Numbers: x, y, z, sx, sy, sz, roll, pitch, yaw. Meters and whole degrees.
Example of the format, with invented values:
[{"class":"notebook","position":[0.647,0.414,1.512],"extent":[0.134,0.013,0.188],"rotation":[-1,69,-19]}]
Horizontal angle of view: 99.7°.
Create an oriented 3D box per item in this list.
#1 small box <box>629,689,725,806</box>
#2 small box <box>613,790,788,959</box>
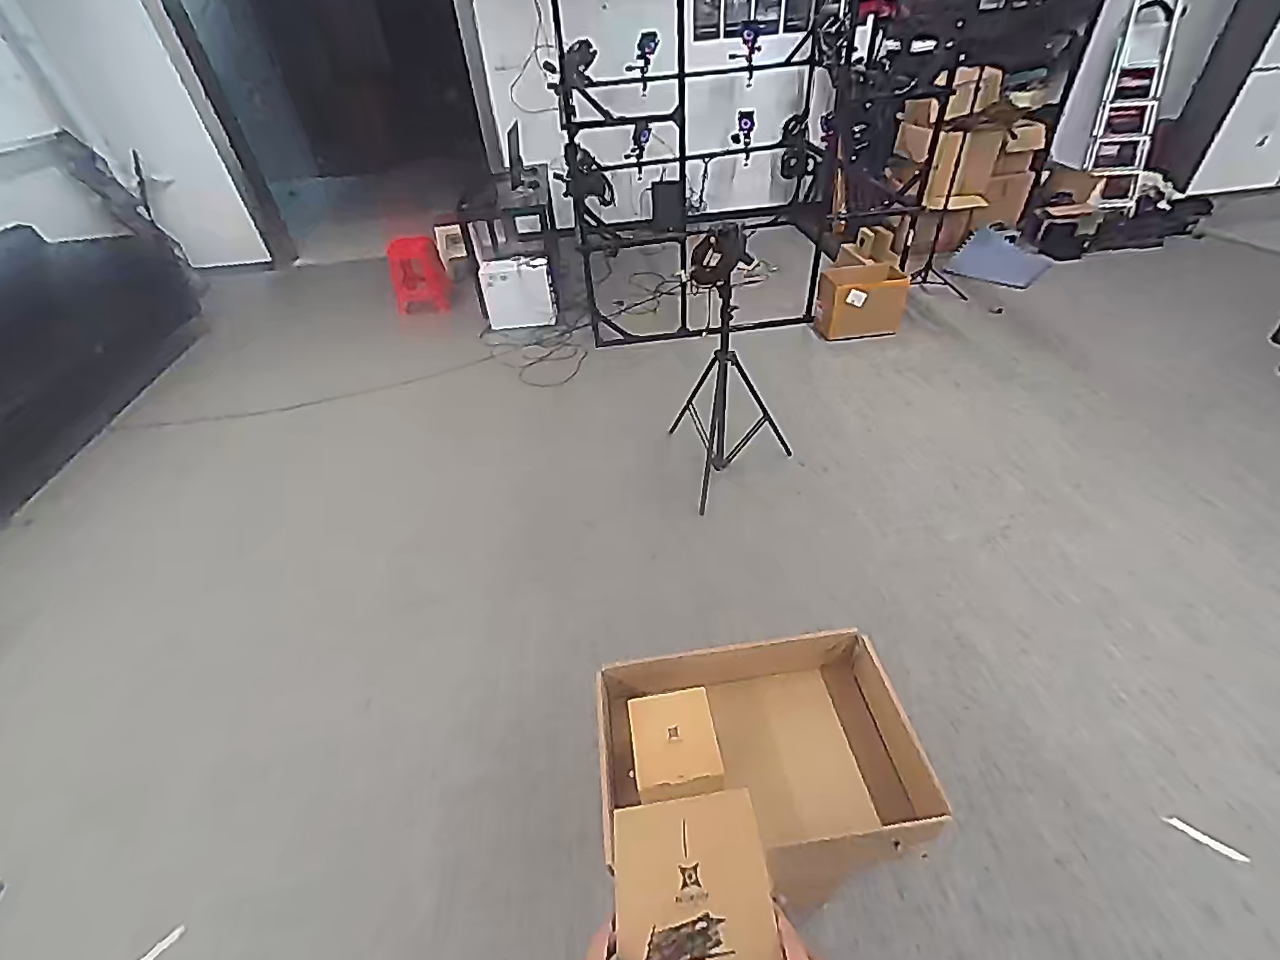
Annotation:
[{"class":"small box","position":[0.073,0.561,1.109],"extent":[0.168,0.176,0.179],"rotation":[-9,41,-2]},{"class":"small box","position":[0.070,0.490,0.615],"extent":[0.168,0.176,0.179],"rotation":[-13,37,6]}]
